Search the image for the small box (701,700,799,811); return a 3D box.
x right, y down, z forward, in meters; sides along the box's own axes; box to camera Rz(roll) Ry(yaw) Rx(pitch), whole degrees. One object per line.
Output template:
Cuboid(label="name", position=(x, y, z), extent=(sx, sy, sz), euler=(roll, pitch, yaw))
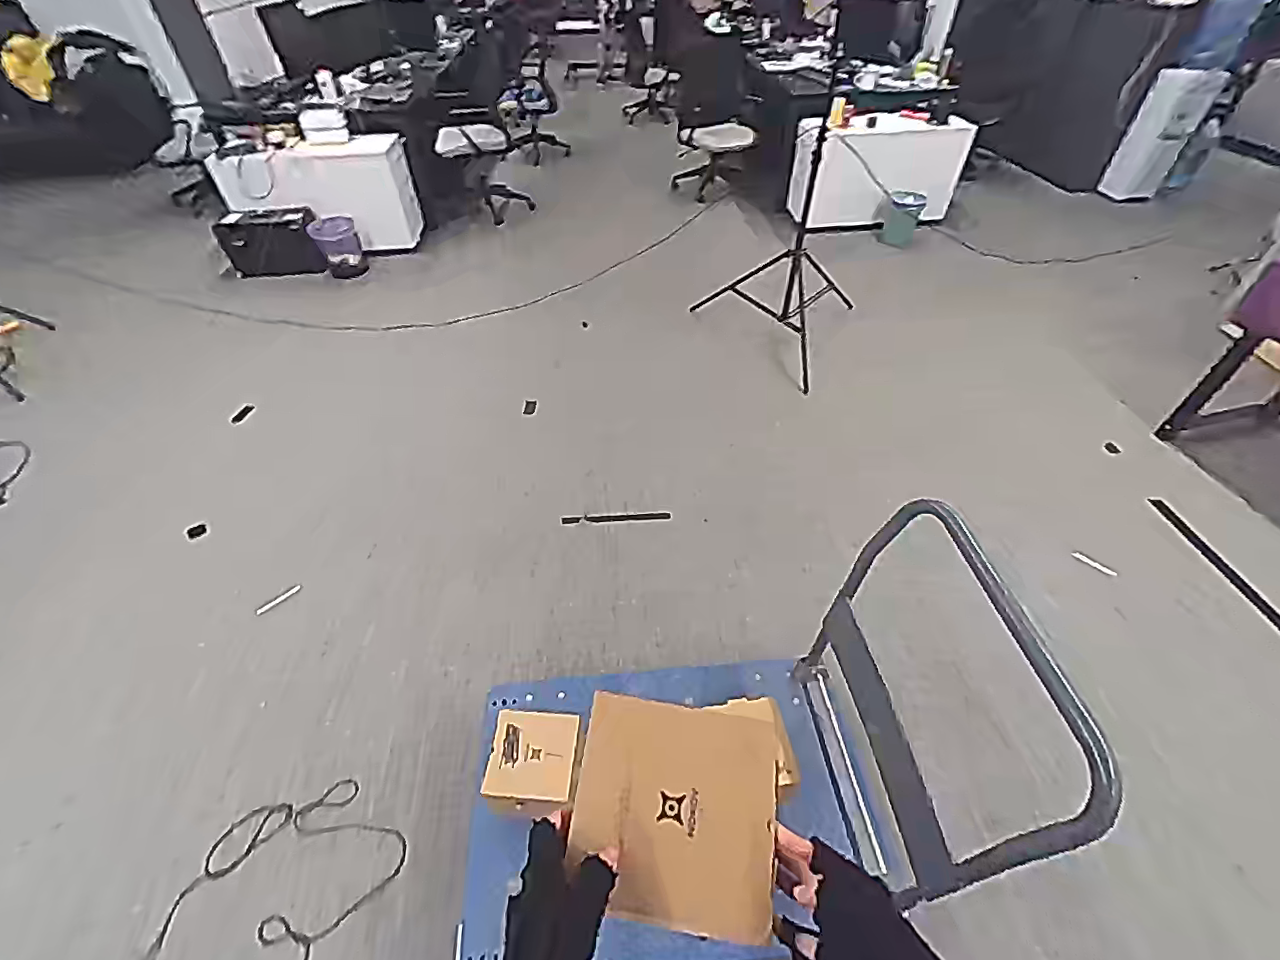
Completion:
Cuboid(label="small box", position=(0.222, 0.606, 1.171), extent=(0.168, 0.176, 0.179), euler=(-7, 45, -6))

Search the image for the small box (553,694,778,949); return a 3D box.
Cuboid(label="small box", position=(0.027, 0.323, 0.534), extent=(0.179, 0.176, 0.168), euler=(9, 60, 4))

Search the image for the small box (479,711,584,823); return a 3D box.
Cuboid(label="small box", position=(-0.223, 0.617, 1.159), extent=(0.179, 0.176, 0.168), euler=(4, 46, 3))
